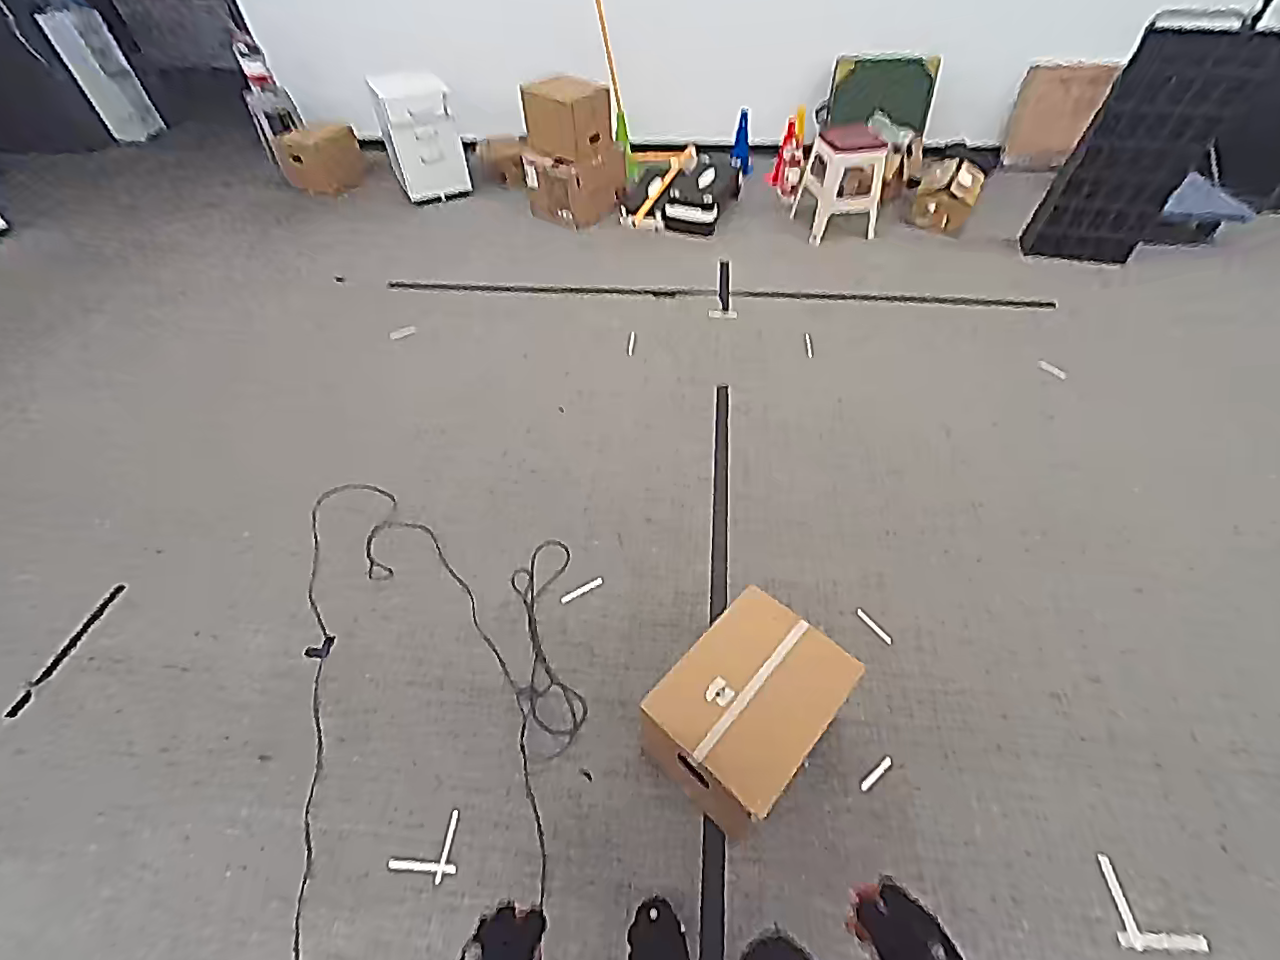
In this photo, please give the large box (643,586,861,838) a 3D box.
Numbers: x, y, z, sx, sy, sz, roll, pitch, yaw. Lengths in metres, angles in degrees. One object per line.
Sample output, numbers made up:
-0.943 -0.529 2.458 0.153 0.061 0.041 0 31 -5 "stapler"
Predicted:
0.251 0.541 1.283 0.320 0.320 0.408 35 59 28 "large box"
